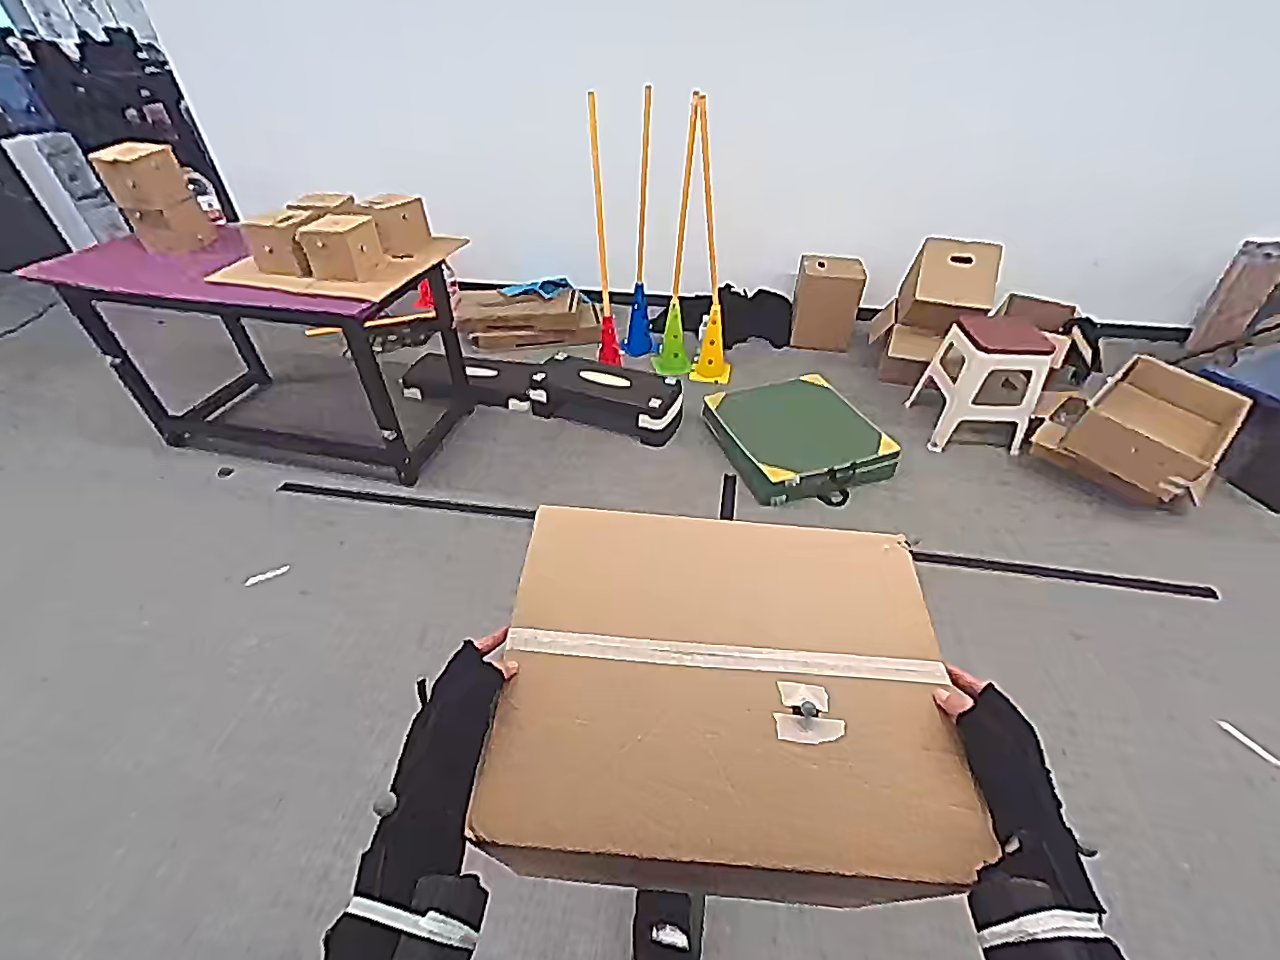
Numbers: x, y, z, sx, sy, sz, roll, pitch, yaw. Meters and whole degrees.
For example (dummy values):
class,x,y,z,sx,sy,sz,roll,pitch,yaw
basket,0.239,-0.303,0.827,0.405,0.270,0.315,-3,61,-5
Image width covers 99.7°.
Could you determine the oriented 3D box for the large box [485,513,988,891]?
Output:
class,x,y,z,sx,sy,sz,roll,pitch,yaw
large box,0.074,0.263,0.626,0.408,0.320,0.320,5,51,0
